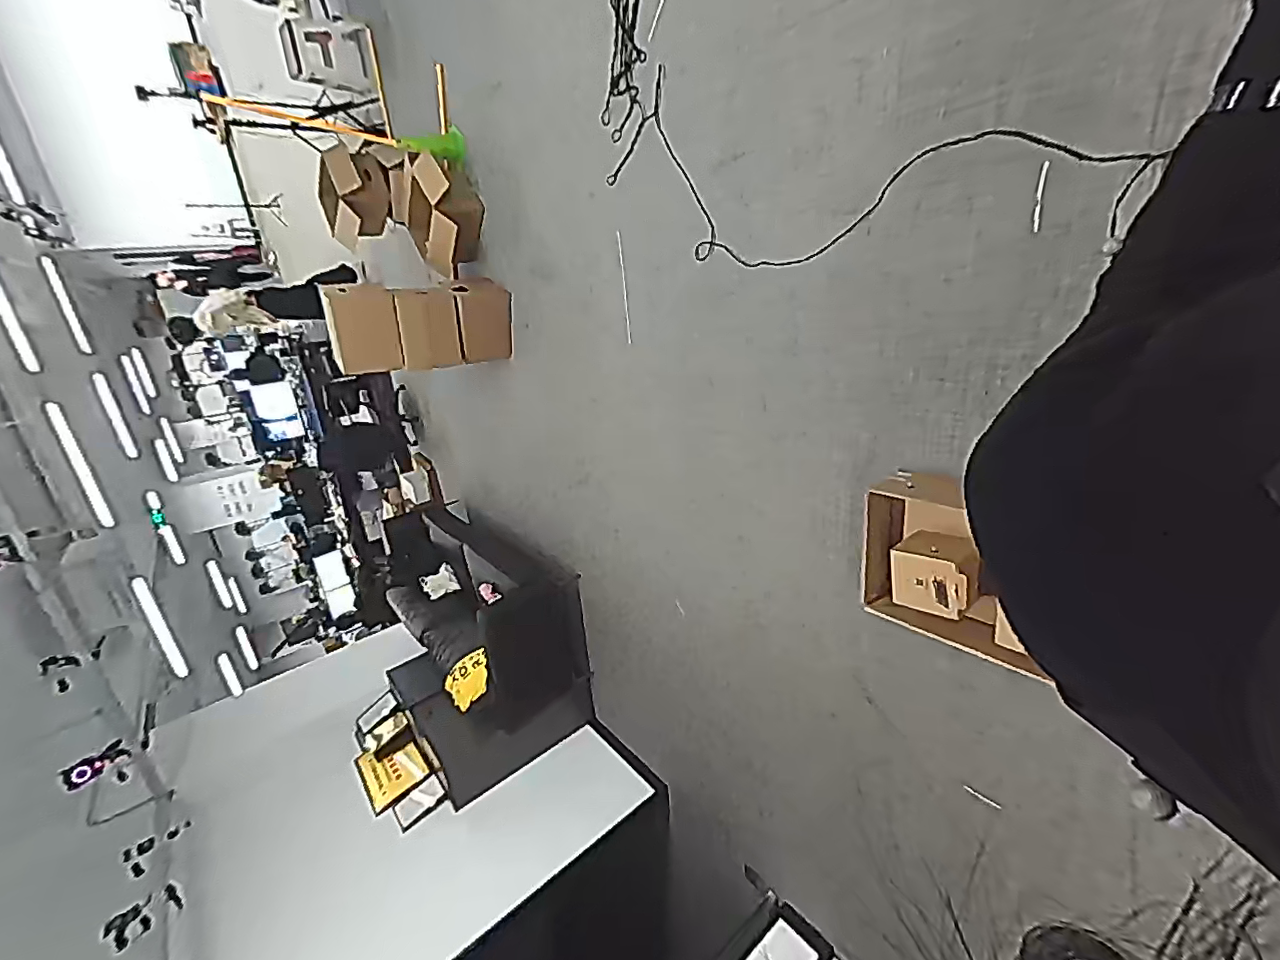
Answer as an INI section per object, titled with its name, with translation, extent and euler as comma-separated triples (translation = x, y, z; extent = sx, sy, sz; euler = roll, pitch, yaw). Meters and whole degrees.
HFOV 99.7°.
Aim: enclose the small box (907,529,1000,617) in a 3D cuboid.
[small box]
translation = 0.862, 0.247, 1.481
extent = 0.179, 0.176, 0.168
euler = 9, 113, 53
